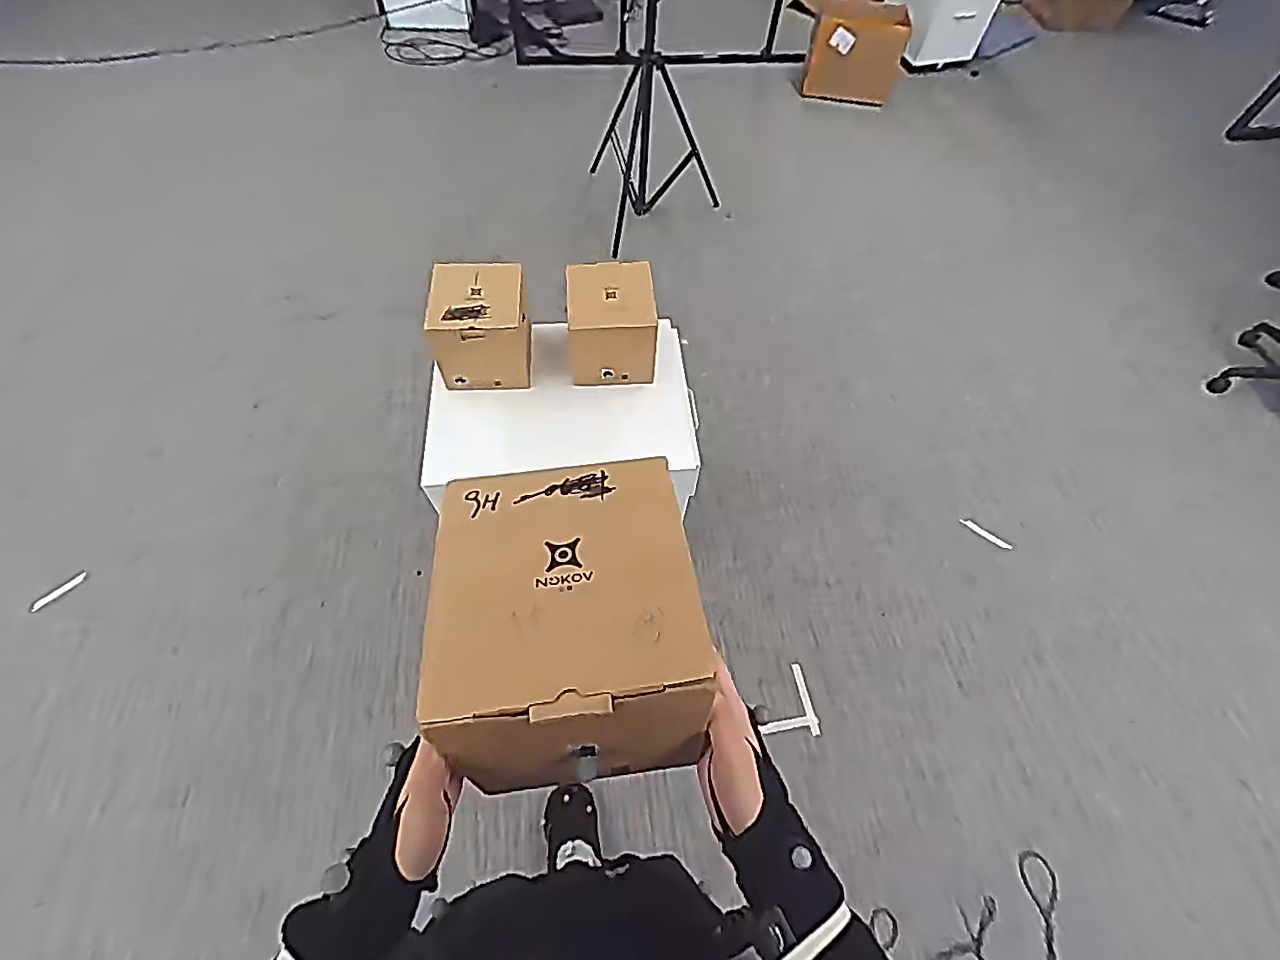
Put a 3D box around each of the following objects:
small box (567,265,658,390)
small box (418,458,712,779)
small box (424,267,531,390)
[{"bbox_3d":[-0.058,-0.302,1.083,0.168,0.176,0.179,-4,62,-4],"label":"small box"},{"bbox_3d":[-0.048,0.109,0.406,0.168,0.176,0.179,-6,50,-5],"label":"small box"},{"bbox_3d":[-0.307,-0.291,1.060,0.168,0.176,0.179,-2,60,-5],"label":"small box"}]
